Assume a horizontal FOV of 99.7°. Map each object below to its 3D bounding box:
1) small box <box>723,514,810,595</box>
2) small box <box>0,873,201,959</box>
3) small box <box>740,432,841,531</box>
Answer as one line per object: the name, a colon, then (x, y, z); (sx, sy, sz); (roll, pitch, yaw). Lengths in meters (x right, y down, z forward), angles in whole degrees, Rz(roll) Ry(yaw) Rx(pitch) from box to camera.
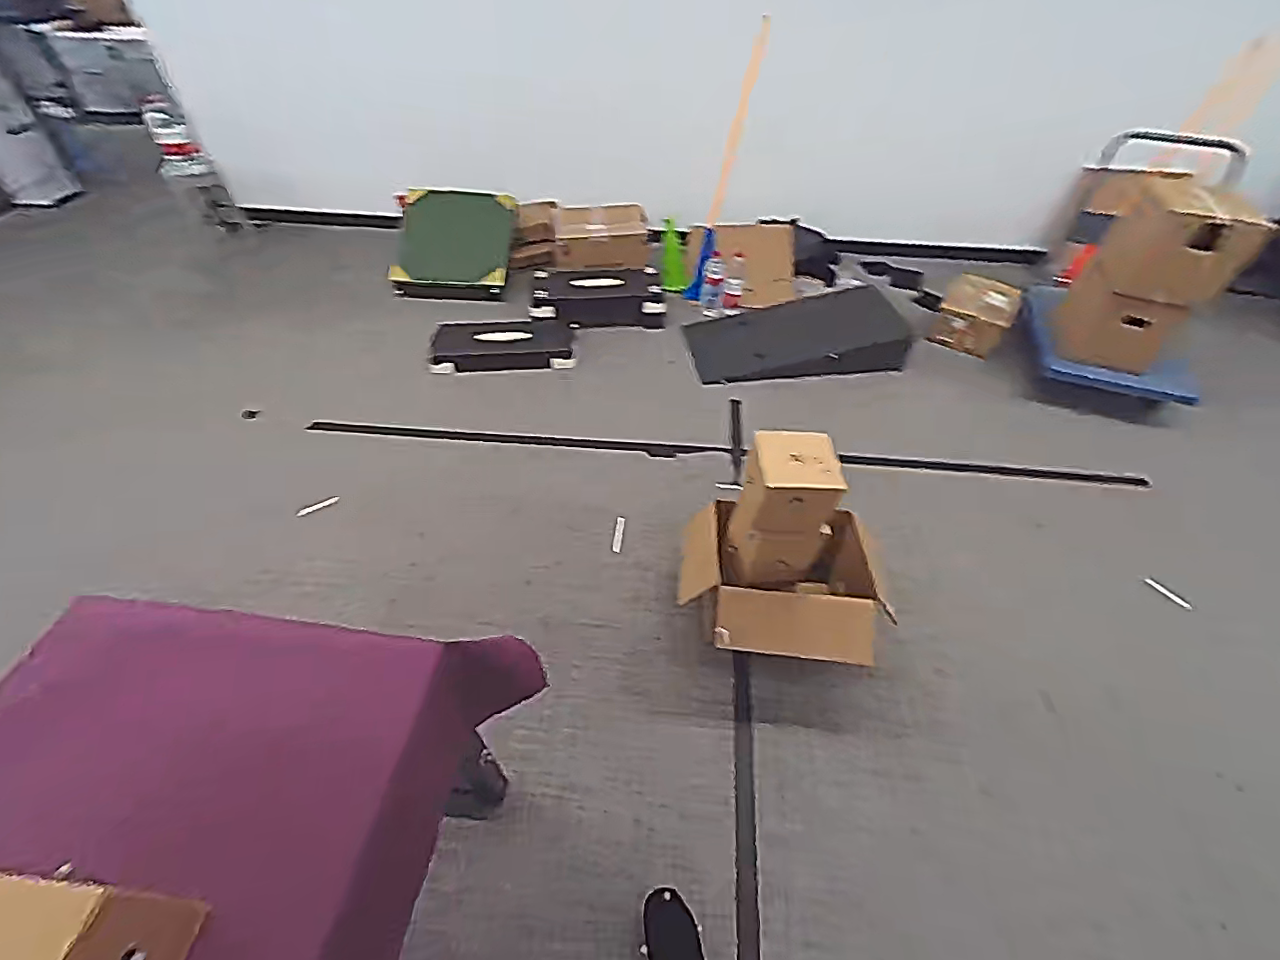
small box: (0.343, 0.204, 1.516); (0.179, 0.176, 0.168); (-9, 51, -14)
small box: (-0.569, 0.473, 0.494); (0.179, 0.176, 0.168); (4, 46, 3)
small box: (0.335, 0.007, 1.251); (0.179, 0.176, 0.168); (2, 51, -5)
